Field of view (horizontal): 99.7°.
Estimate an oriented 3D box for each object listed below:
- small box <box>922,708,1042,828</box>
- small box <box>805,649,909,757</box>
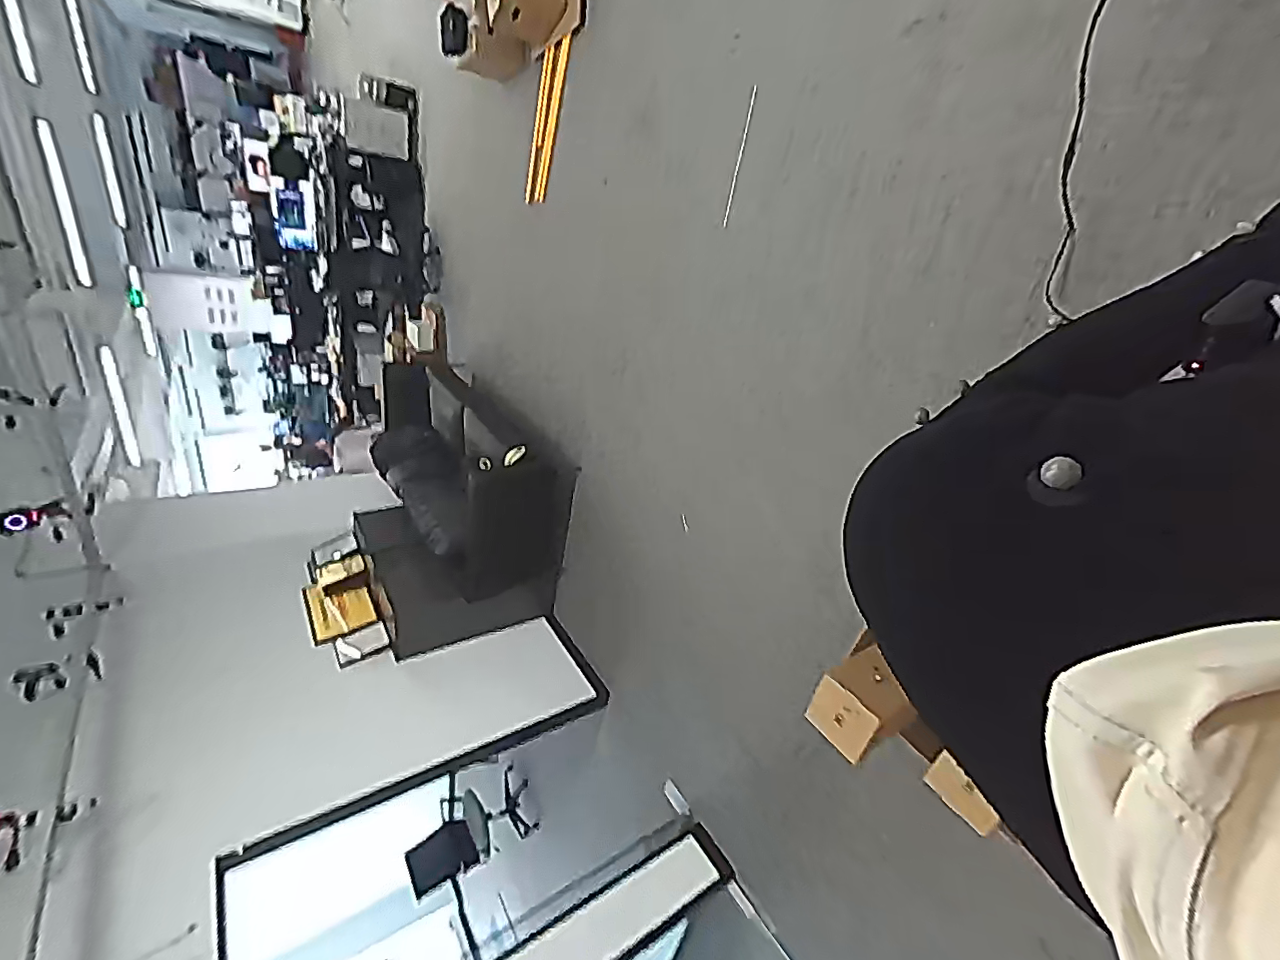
[{"bbox_3d":[0.856,0.714,1.352,0.168,0.176,0.179,42,131,41],"label":"small box"},{"bbox_3d":[0.574,0.582,1.429,0.168,0.176,0.179,41,129,41],"label":"small box"}]
